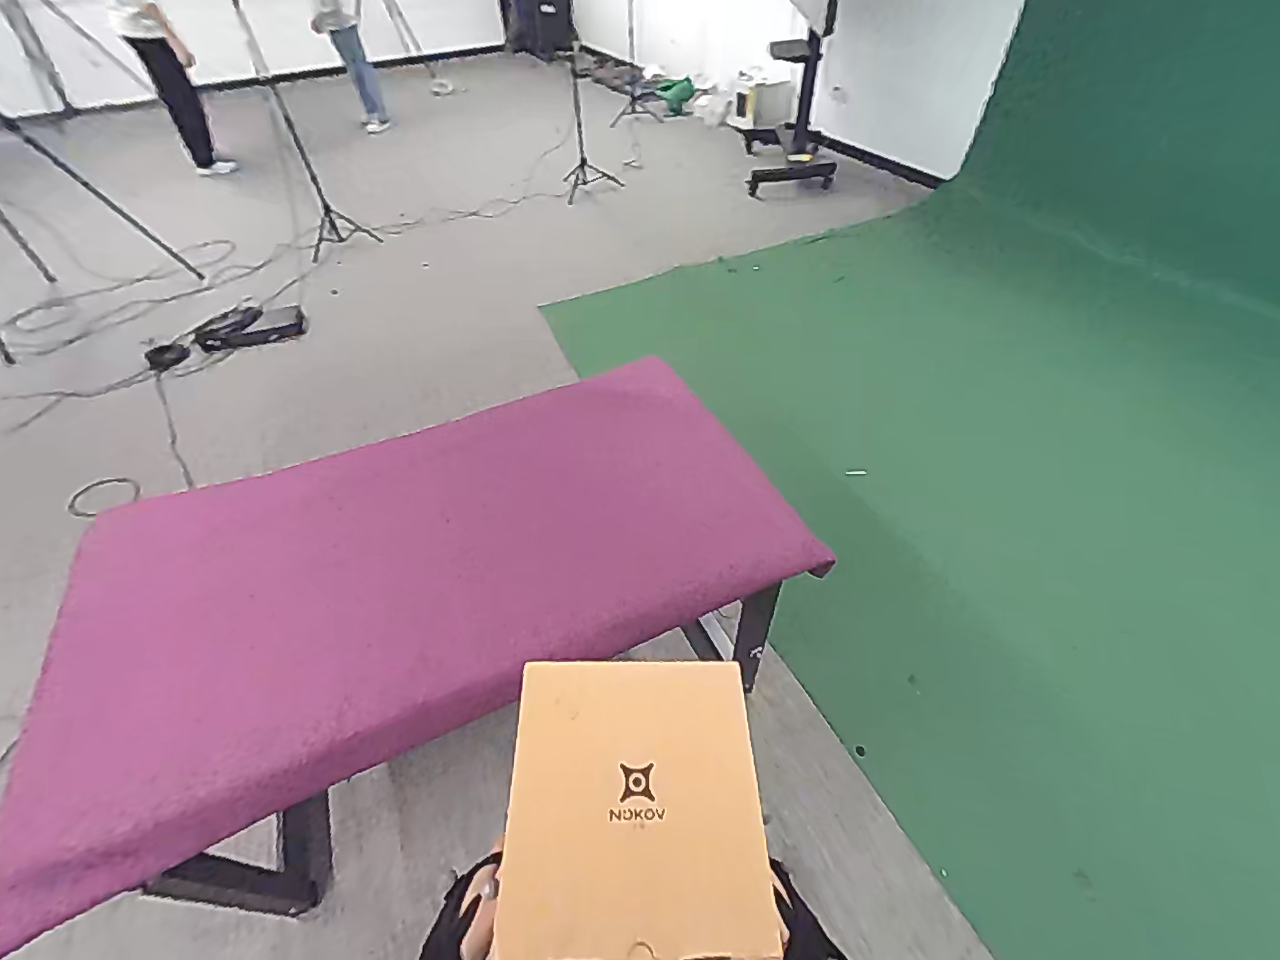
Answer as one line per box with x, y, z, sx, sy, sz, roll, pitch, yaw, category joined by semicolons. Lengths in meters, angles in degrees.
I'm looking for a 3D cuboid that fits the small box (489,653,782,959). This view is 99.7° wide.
-0.009;0.250;0.410;0.168;0.176;0.179;1;49;-4;small box
